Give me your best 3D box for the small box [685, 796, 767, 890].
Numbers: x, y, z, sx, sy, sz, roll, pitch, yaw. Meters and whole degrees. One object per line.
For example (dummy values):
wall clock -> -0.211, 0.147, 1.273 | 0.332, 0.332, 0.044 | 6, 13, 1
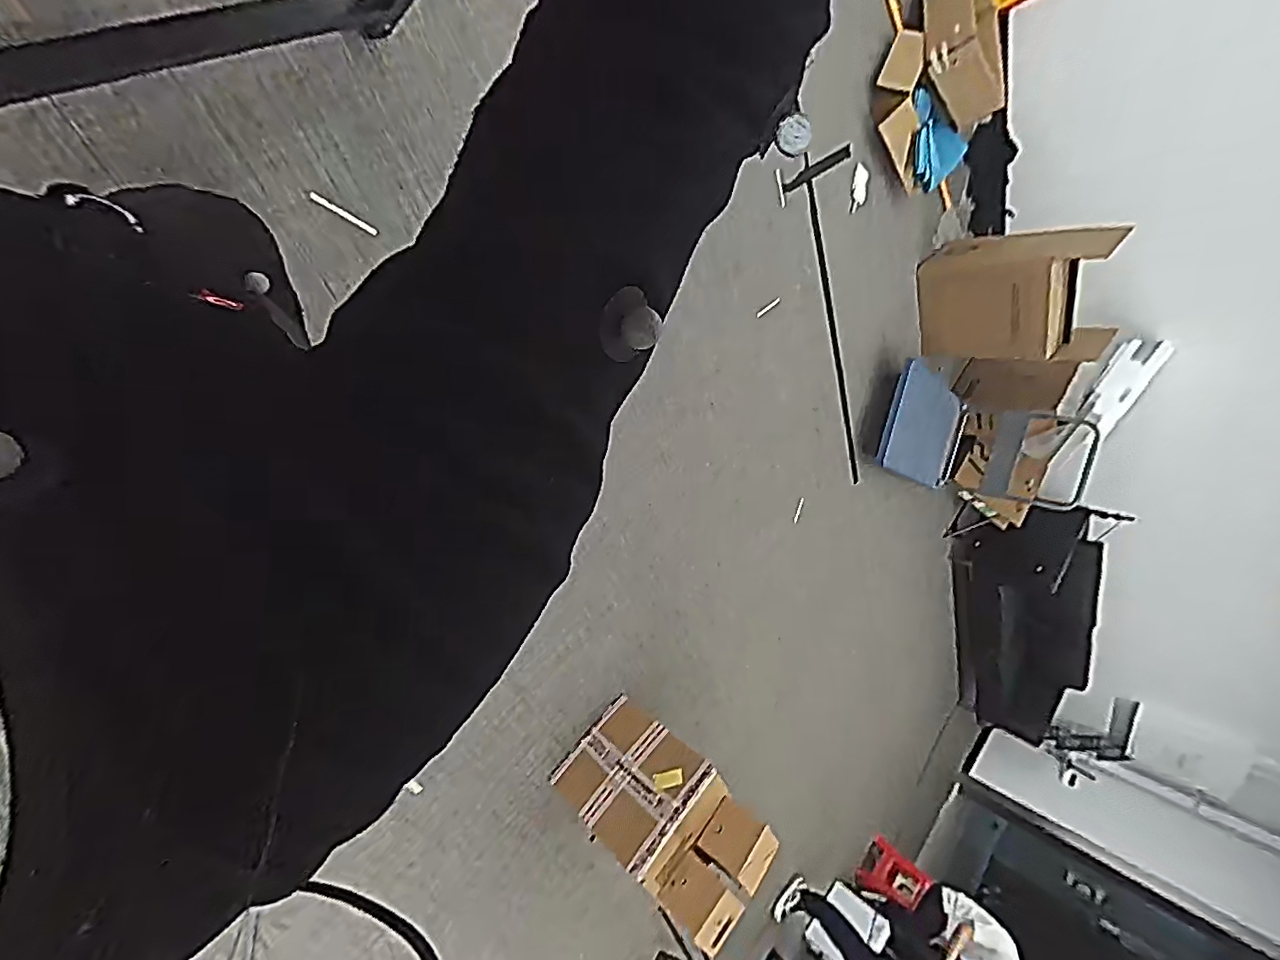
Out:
small box -> 0.284, 1.187, 1.759 | 0.179, 0.176, 0.168 | -45, 127, -27
